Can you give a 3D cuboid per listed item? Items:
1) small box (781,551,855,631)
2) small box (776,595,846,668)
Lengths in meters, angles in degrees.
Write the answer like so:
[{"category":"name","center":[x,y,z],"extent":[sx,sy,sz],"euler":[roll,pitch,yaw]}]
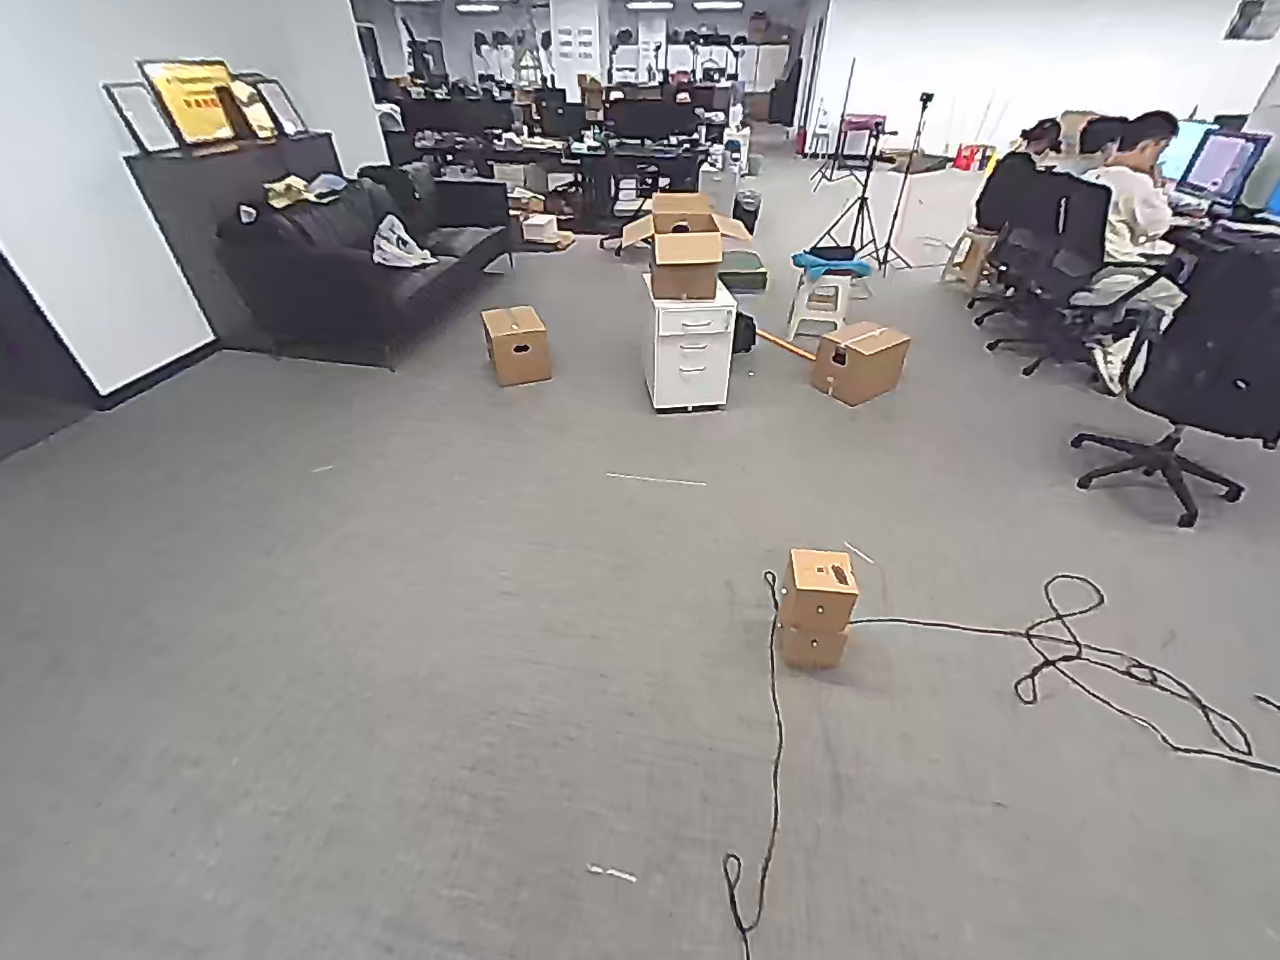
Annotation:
[{"category":"small box","center":[0.533,0.339,1.642],"extent":[0.179,0.176,0.168],"euler":[3,36,6]},{"category":"small box","center":[0.536,0.481,1.725],"extent":[0.179,0.176,0.168],"euler":[2,37,2]}]
